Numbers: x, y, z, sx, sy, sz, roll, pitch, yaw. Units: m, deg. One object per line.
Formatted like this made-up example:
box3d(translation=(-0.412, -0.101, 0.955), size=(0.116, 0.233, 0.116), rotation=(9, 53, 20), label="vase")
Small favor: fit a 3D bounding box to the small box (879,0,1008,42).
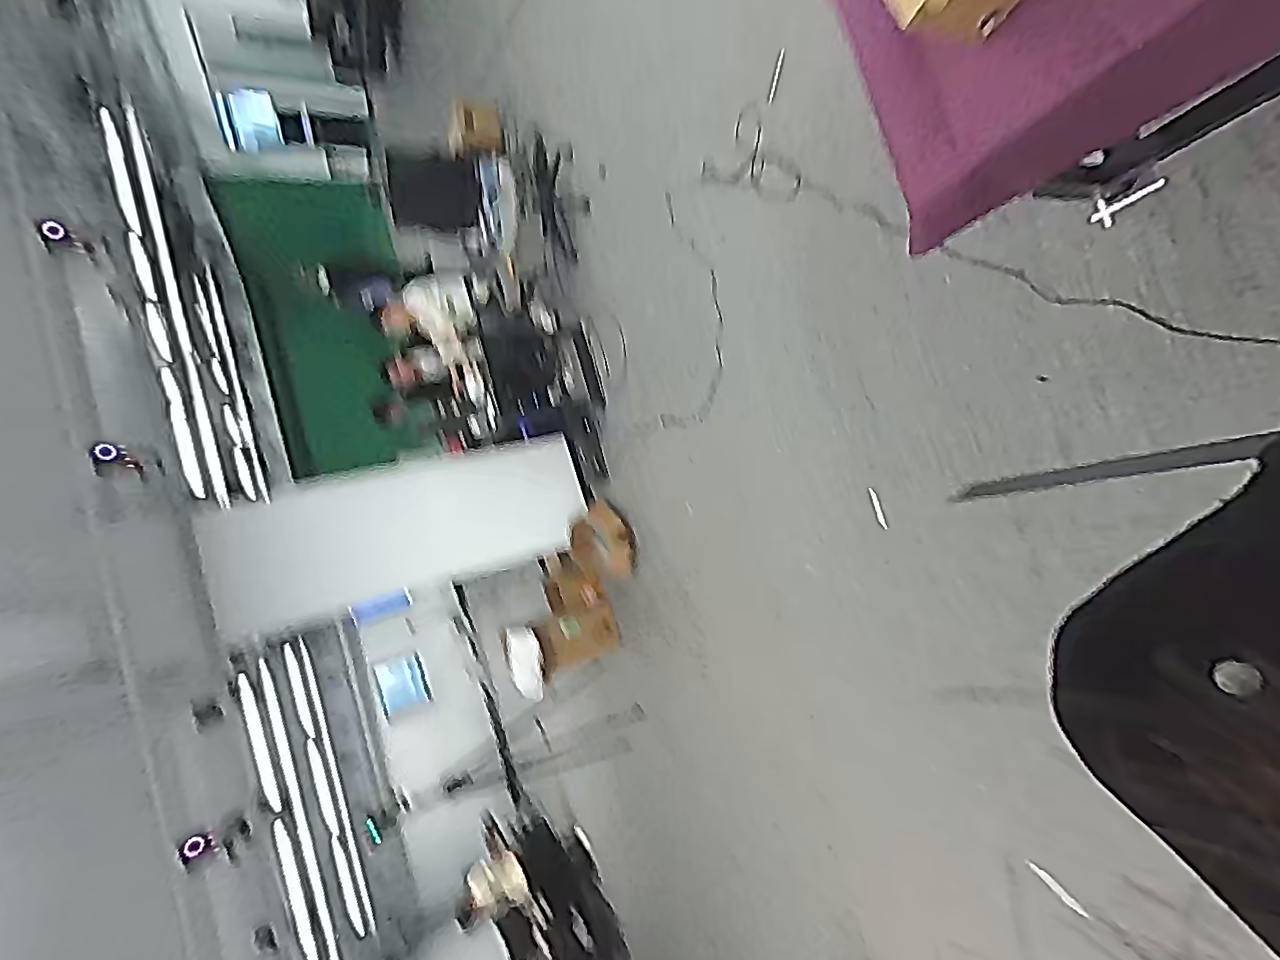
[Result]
box3d(translation=(0.417, -0.718, 0.705), size=(0.168, 0.176, 0.179), rotation=(-42, 65, 59), label="small box")
